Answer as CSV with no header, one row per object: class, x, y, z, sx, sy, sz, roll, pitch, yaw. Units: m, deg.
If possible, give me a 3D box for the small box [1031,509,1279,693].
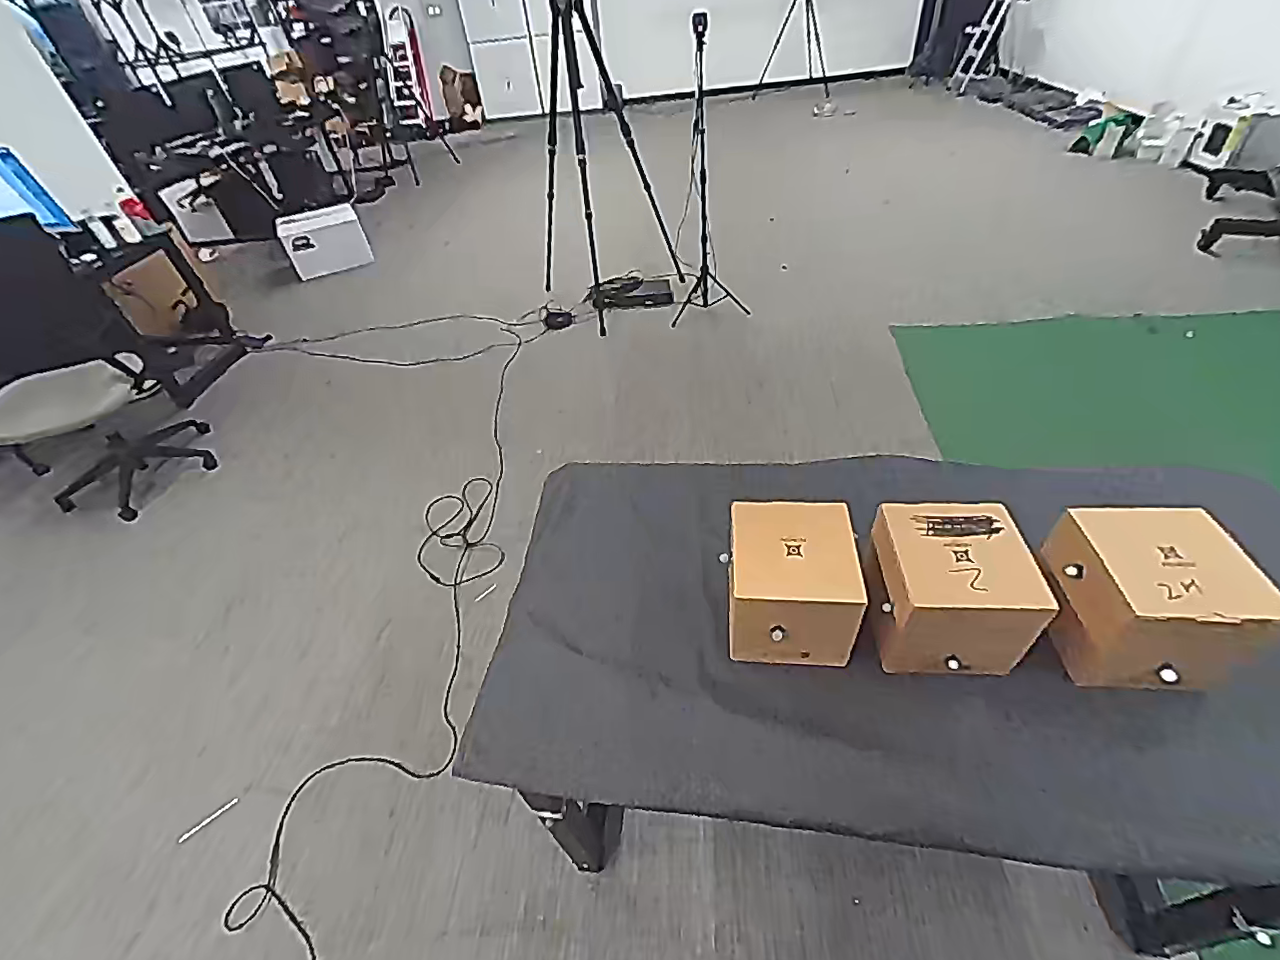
small box,0.665,0.157,0.718,0.168,0.176,0.179,-1,43,9
